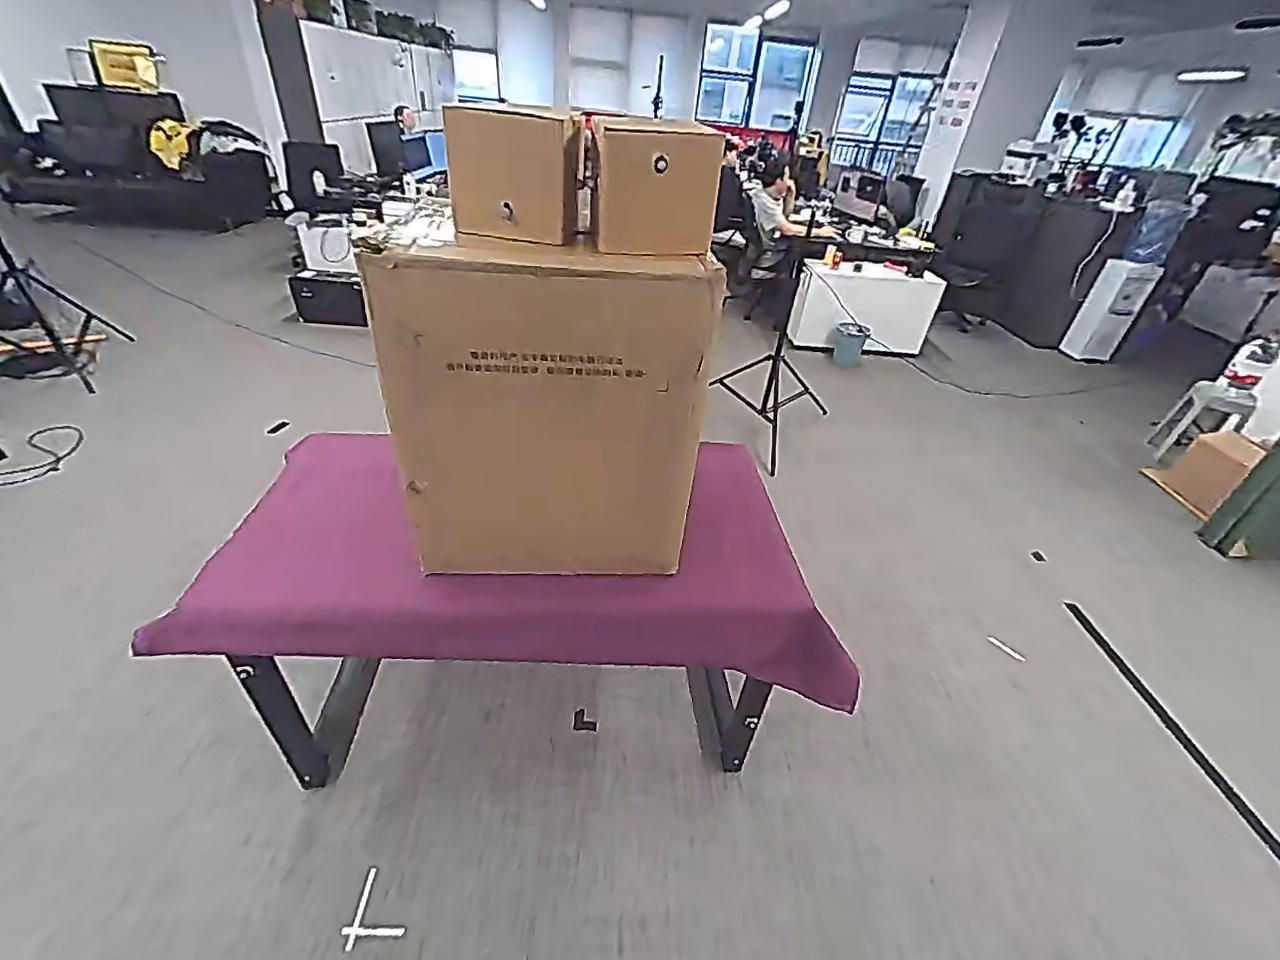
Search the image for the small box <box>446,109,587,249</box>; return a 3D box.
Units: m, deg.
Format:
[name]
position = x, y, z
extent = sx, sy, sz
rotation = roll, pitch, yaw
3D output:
[small box]
position = -0.190, -0.482, 0.871
extent = 0.179, 0.176, 0.168
rotation = 8, 35, 1
